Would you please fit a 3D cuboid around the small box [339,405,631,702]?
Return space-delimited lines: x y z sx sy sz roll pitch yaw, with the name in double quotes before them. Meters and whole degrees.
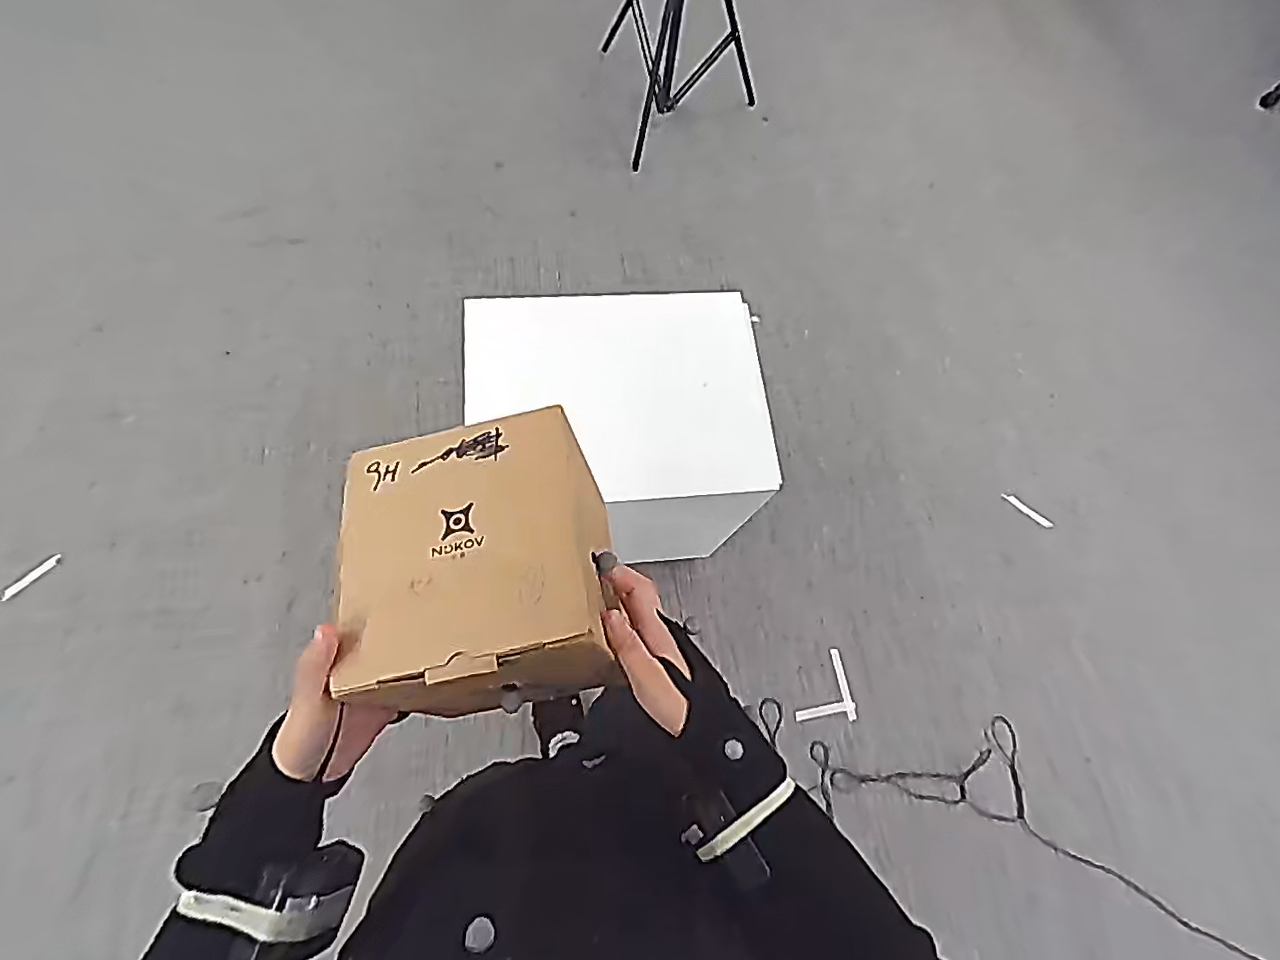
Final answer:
"small box" -0.109 0.072 0.434 0.168 0.176 0.179 -13 62 1
